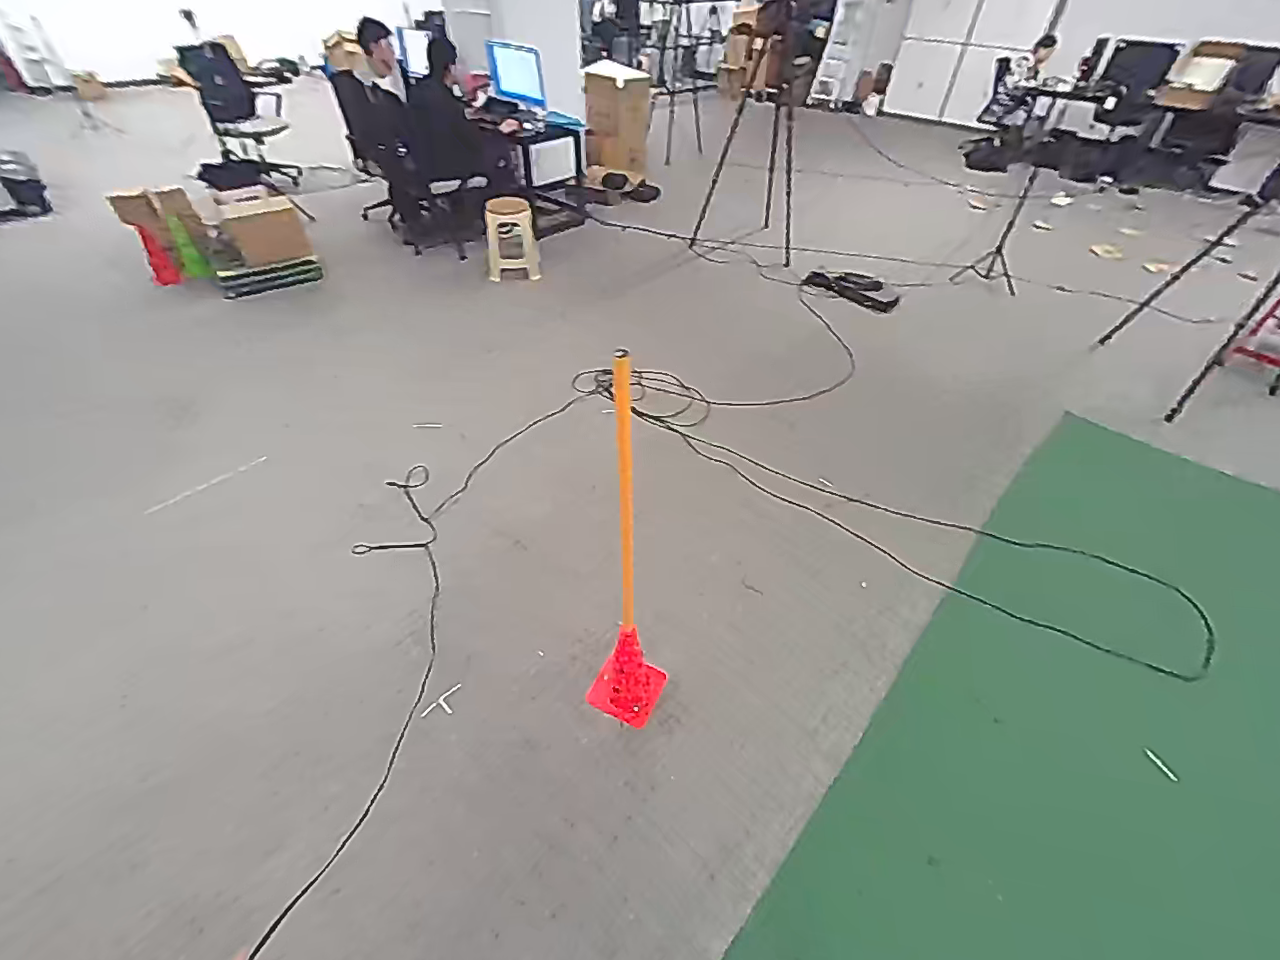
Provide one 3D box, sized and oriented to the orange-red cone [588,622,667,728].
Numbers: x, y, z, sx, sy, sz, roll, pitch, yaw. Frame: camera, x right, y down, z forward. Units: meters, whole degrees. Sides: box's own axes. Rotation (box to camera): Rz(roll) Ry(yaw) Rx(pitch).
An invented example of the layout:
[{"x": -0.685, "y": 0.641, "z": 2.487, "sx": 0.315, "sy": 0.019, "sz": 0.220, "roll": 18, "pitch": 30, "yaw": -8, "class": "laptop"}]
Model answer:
[{"x": -0.032, "y": 0.522, "z": 1.567, "sx": 0.198, "sy": 0.360, "sz": 0.199, "roll": 22, "pitch": 46, "yaw": 19, "class": "orange-red cone"}]
